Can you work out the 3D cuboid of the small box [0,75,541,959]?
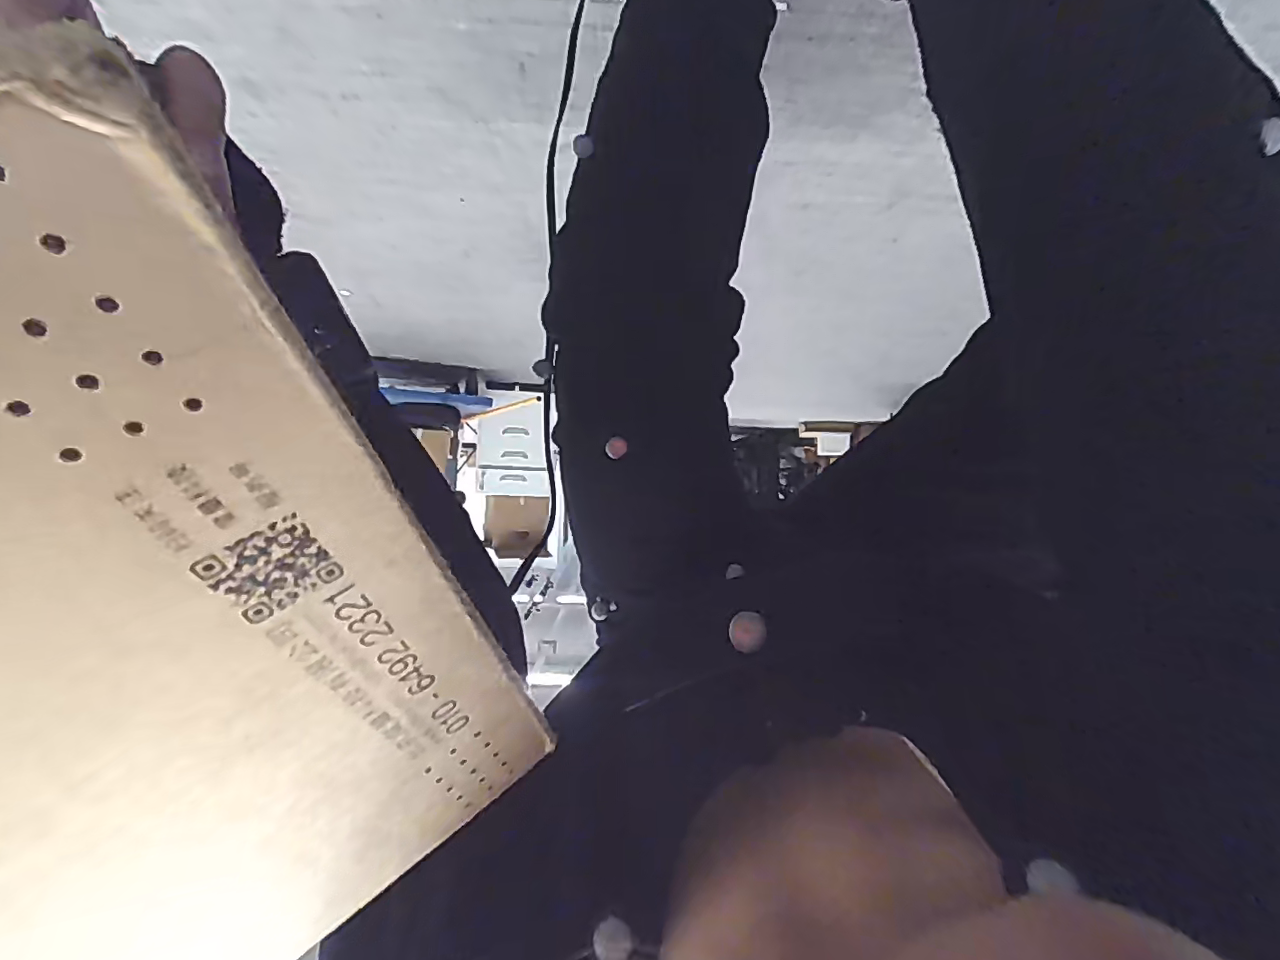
[{"bbox_3d":[-0.151,0.014,0.140,0.176,0.168,0.179,-33,-135,-22],"label":"small box"}]
